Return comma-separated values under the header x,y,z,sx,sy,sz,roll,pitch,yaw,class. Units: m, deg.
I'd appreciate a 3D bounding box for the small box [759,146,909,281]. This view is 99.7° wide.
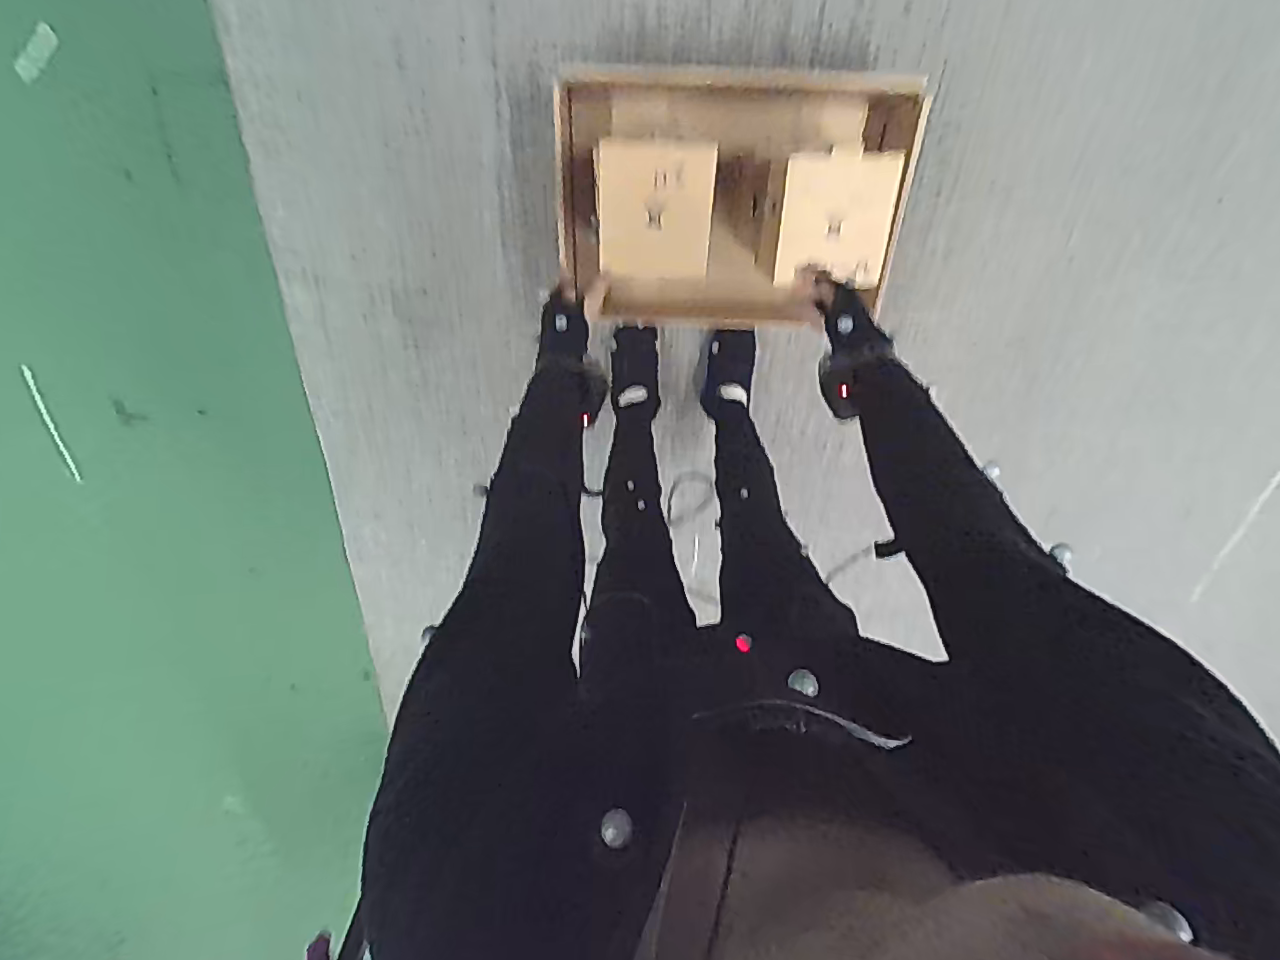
x,y,z,sx,sy,sz,roll,pitch,yaw,class
0.293,-0.422,0.859,0.168,0.176,0.179,1,119,0,small box

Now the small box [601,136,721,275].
x,y,z,sx,sy,sz,roll,pitch,yaw,class
0.026,-0.434,0.852,0.168,0.176,0.179,2,121,-2,small box

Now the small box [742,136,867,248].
x,y,z,sx,sy,sz,roll,pitch,yaw,class
0.287,-0.524,0.988,0.179,0.176,0.168,-3,121,1,small box
